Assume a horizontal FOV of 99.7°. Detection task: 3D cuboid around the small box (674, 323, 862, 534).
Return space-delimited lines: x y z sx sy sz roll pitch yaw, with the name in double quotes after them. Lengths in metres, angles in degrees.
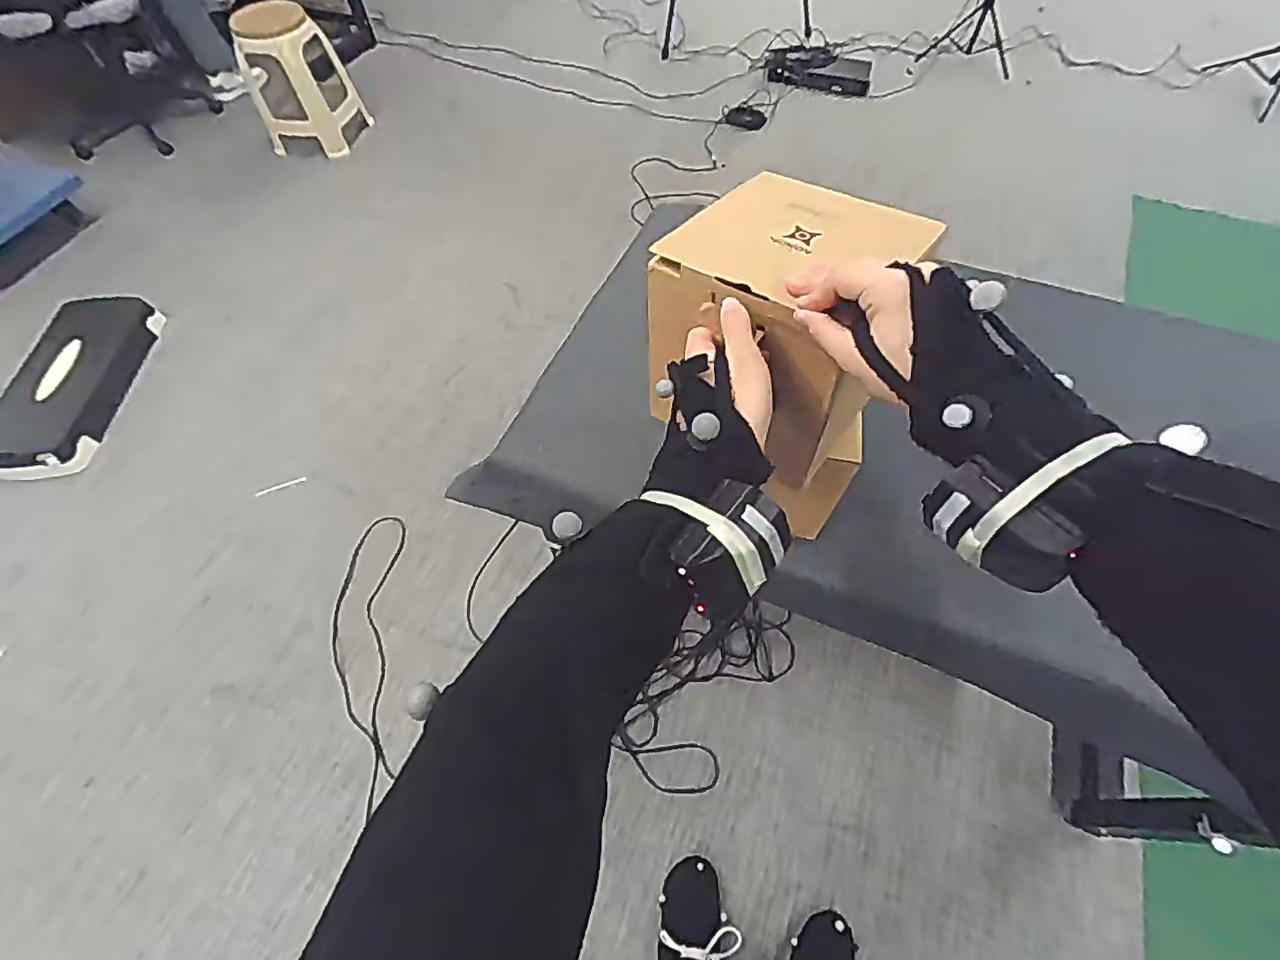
0.140 -0.053 0.625 0.179 0.176 0.168 9 59 7 "small box"
